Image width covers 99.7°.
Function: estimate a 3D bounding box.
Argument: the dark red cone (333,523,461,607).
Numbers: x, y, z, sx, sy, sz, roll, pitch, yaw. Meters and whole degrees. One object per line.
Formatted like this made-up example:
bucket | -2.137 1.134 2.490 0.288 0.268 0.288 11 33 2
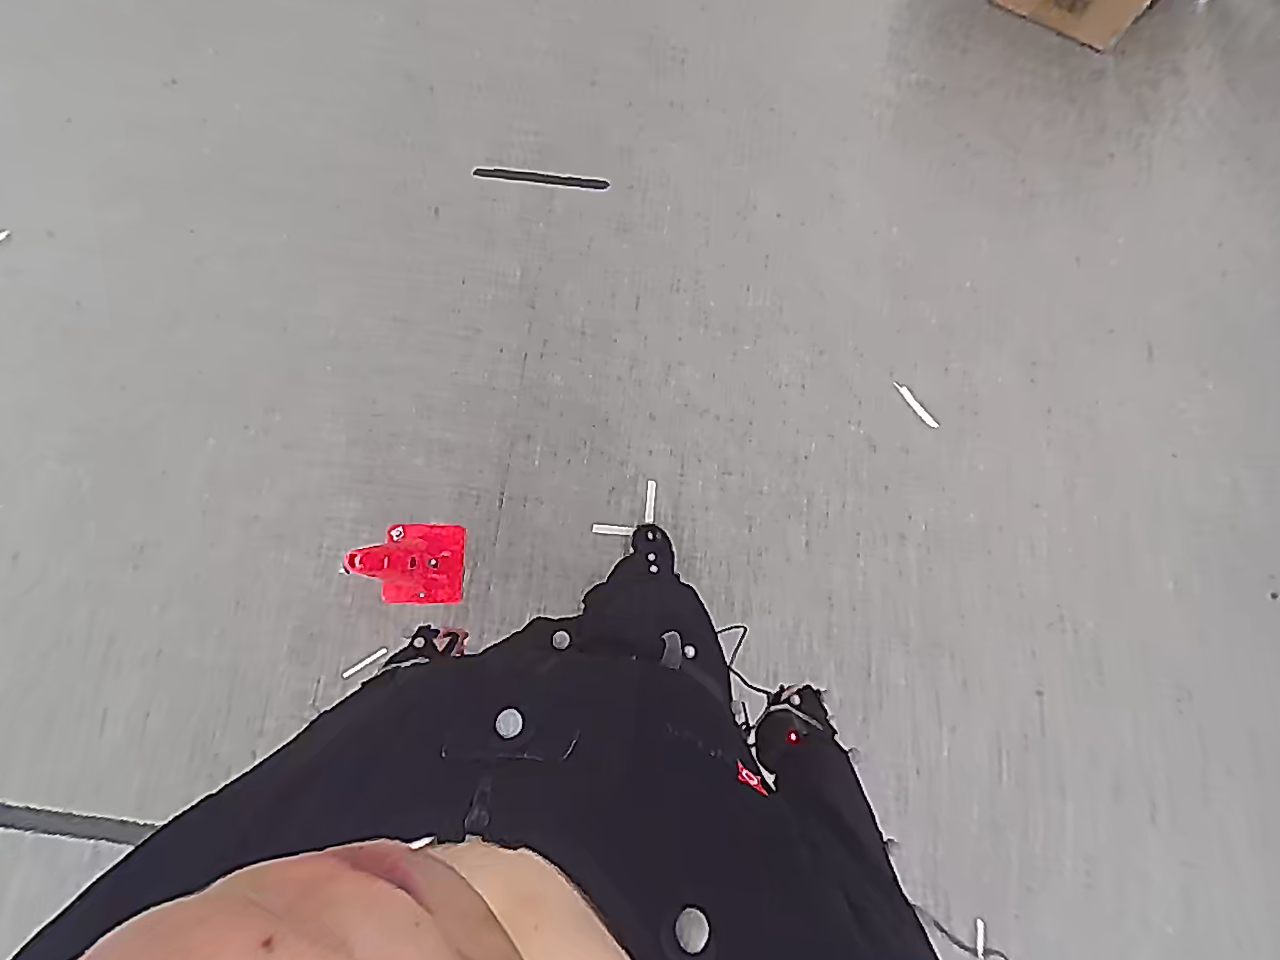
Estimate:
dark red cone | -0.540 0.183 1.160 0.202 0.394 0.201 0 82 -1
